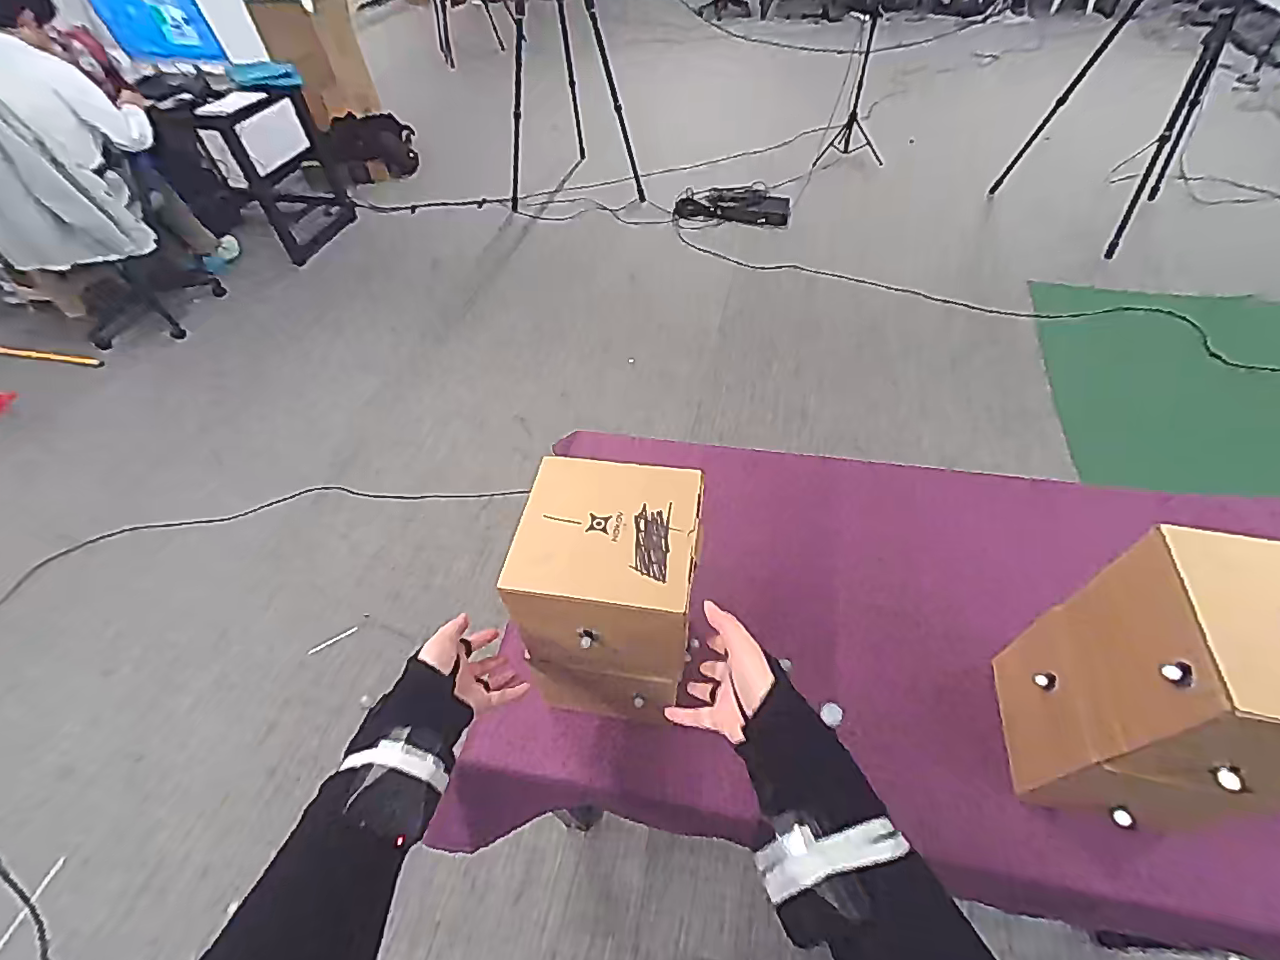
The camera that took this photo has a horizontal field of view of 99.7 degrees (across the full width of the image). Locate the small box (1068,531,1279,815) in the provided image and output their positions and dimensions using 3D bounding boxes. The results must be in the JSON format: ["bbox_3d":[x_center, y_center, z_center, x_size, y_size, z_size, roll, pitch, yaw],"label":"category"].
[{"bbox_3d":[0.536,0.176,0.491,0.168,0.176,0.179,9,52,11],"label":"small box"}]

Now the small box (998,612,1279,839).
[{"bbox_3d":[0.541,0.280,0.616,0.168,0.176,0.179,9,52,11],"label":"small box"}]

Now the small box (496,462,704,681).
[{"bbox_3d":[-0.029,0.103,0.584,0.179,0.176,0.168,6,51,8],"label":"small box"}]
